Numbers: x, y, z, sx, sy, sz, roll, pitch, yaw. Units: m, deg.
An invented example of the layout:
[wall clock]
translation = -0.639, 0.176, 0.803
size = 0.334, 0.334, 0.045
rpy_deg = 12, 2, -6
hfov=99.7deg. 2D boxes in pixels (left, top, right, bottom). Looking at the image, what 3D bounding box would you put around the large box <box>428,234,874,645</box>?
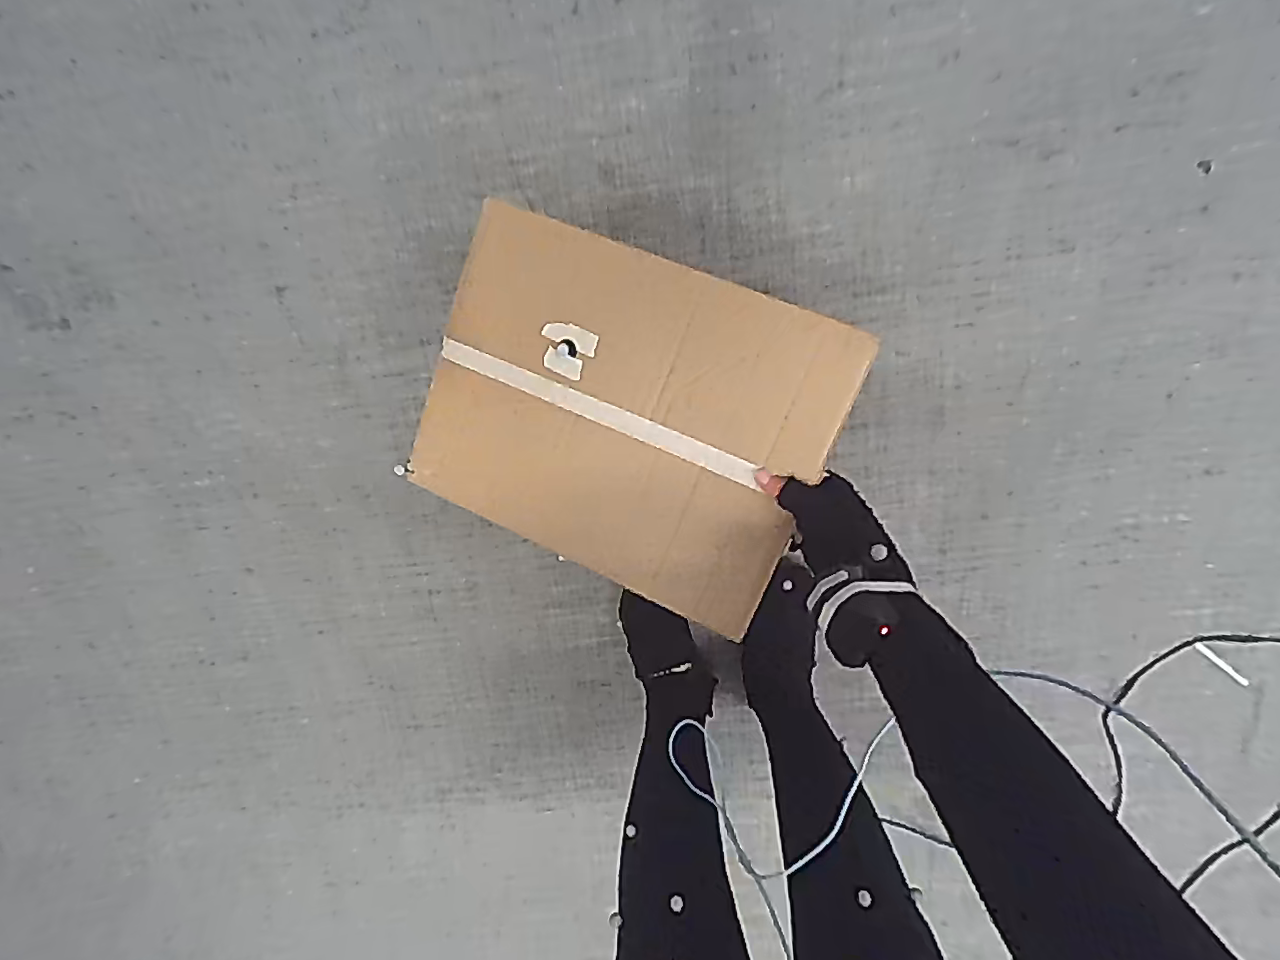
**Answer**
[large box]
translation = 0.025, -0.060, 0.690
size = 0.408, 0.320, 0.320
rpy_deg = 24, 101, 13
